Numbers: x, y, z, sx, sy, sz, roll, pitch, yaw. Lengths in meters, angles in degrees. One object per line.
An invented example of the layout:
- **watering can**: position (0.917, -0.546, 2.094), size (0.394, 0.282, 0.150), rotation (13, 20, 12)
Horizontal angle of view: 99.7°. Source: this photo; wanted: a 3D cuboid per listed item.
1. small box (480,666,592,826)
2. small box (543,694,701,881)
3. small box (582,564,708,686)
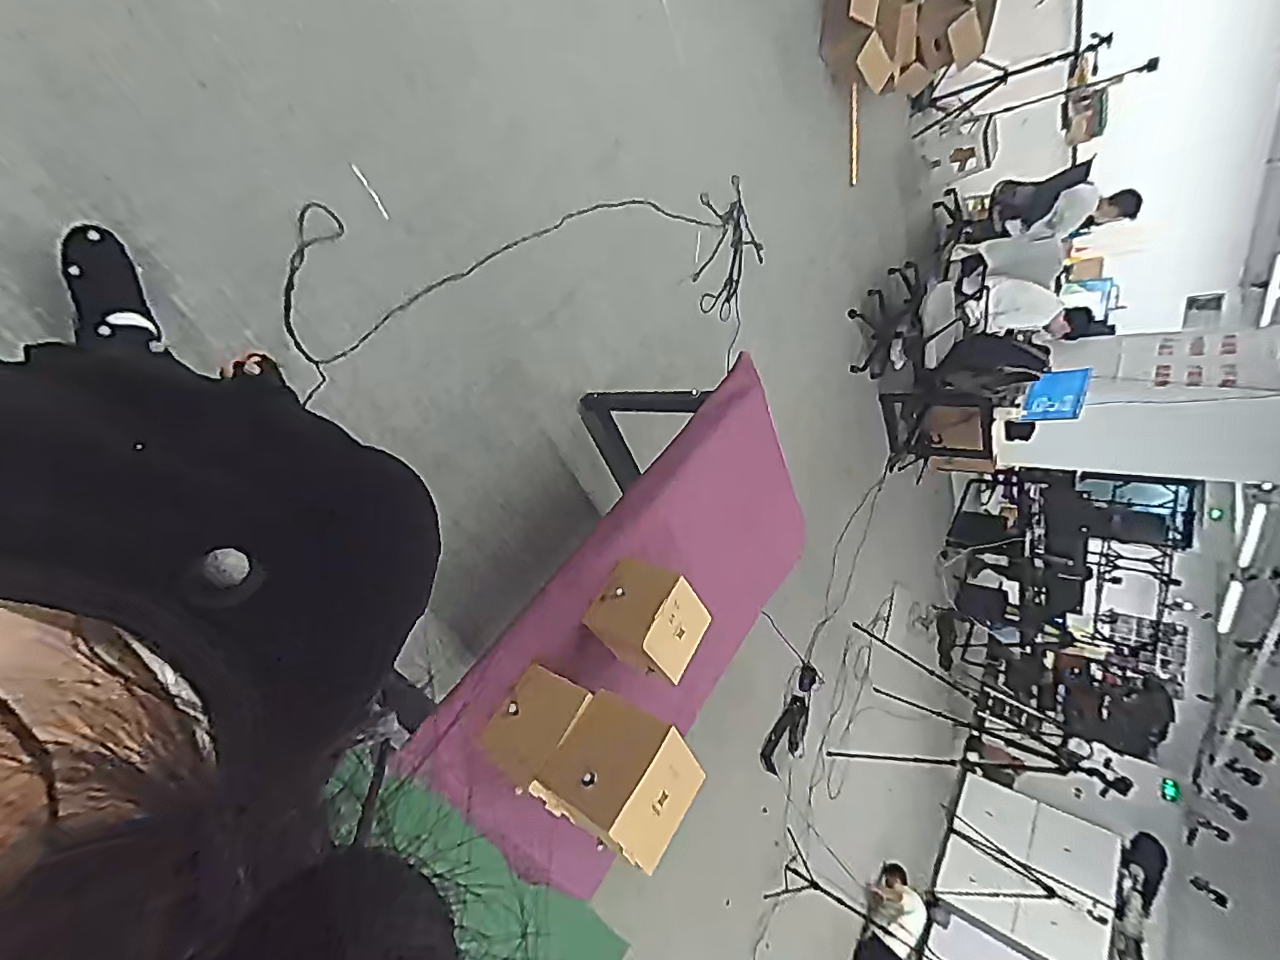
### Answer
- **small box**: position (-0.163, 0.473, 0.982), size (0.179, 0.176, 0.168), rotation (-53, 131, -28)
- **small box**: position (-0.034, 0.489, 0.882), size (0.179, 0.176, 0.168), rotation (-48, 128, -33)
- **small box**: position (0.012, 0.300, 1.147), size (0.168, 0.176, 0.179), rotation (-55, 132, -27)
